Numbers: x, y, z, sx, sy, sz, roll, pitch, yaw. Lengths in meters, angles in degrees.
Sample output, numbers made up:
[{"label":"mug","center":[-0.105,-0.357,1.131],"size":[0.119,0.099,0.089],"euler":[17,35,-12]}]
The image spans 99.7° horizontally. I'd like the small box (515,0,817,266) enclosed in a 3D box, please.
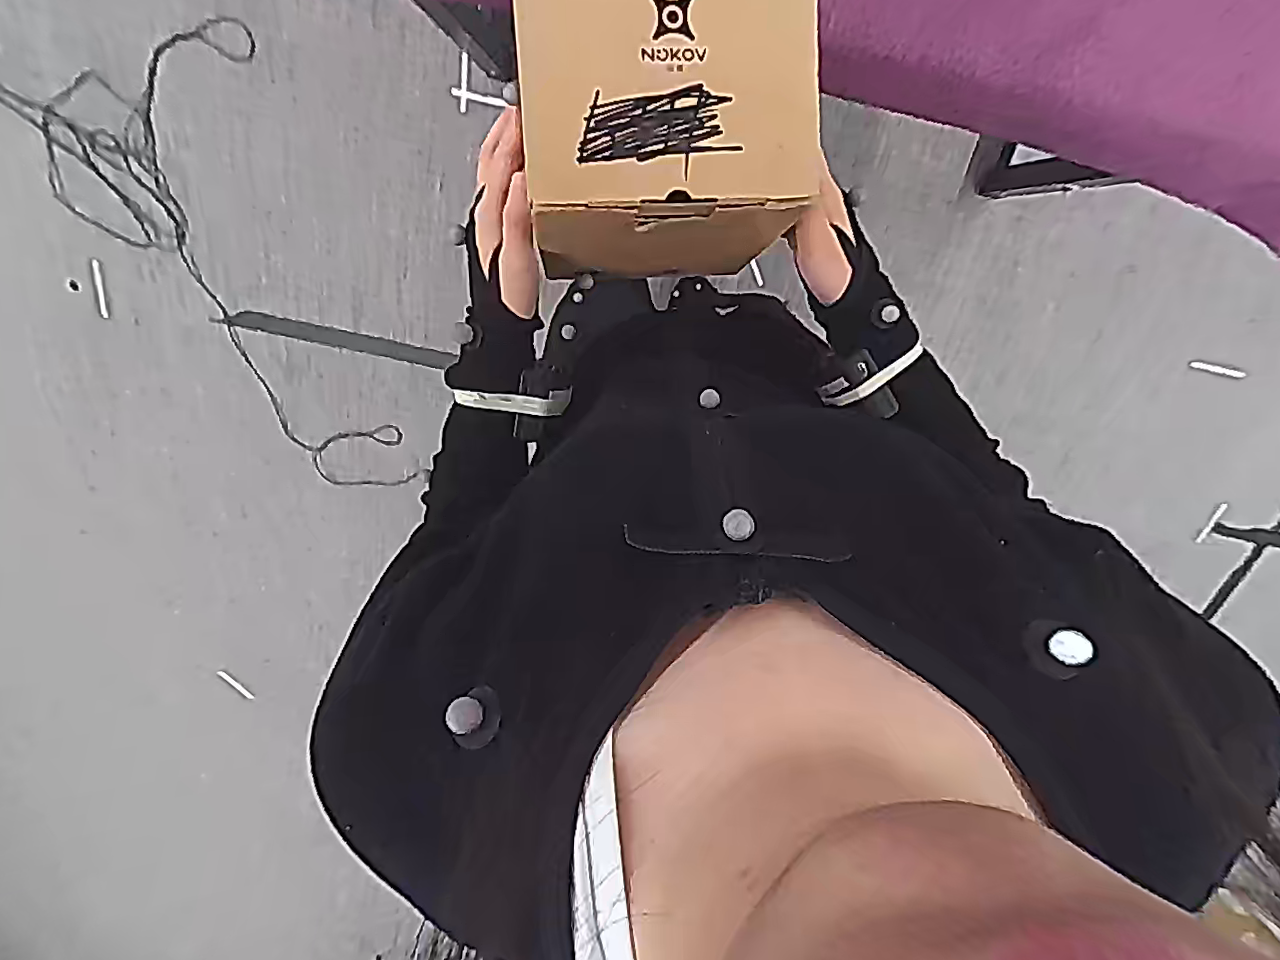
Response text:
[{"label":"small box","center":[0.008,-0.254,0.371],"size":[0.168,0.176,0.179],"euler":[-4,97,-6]}]
